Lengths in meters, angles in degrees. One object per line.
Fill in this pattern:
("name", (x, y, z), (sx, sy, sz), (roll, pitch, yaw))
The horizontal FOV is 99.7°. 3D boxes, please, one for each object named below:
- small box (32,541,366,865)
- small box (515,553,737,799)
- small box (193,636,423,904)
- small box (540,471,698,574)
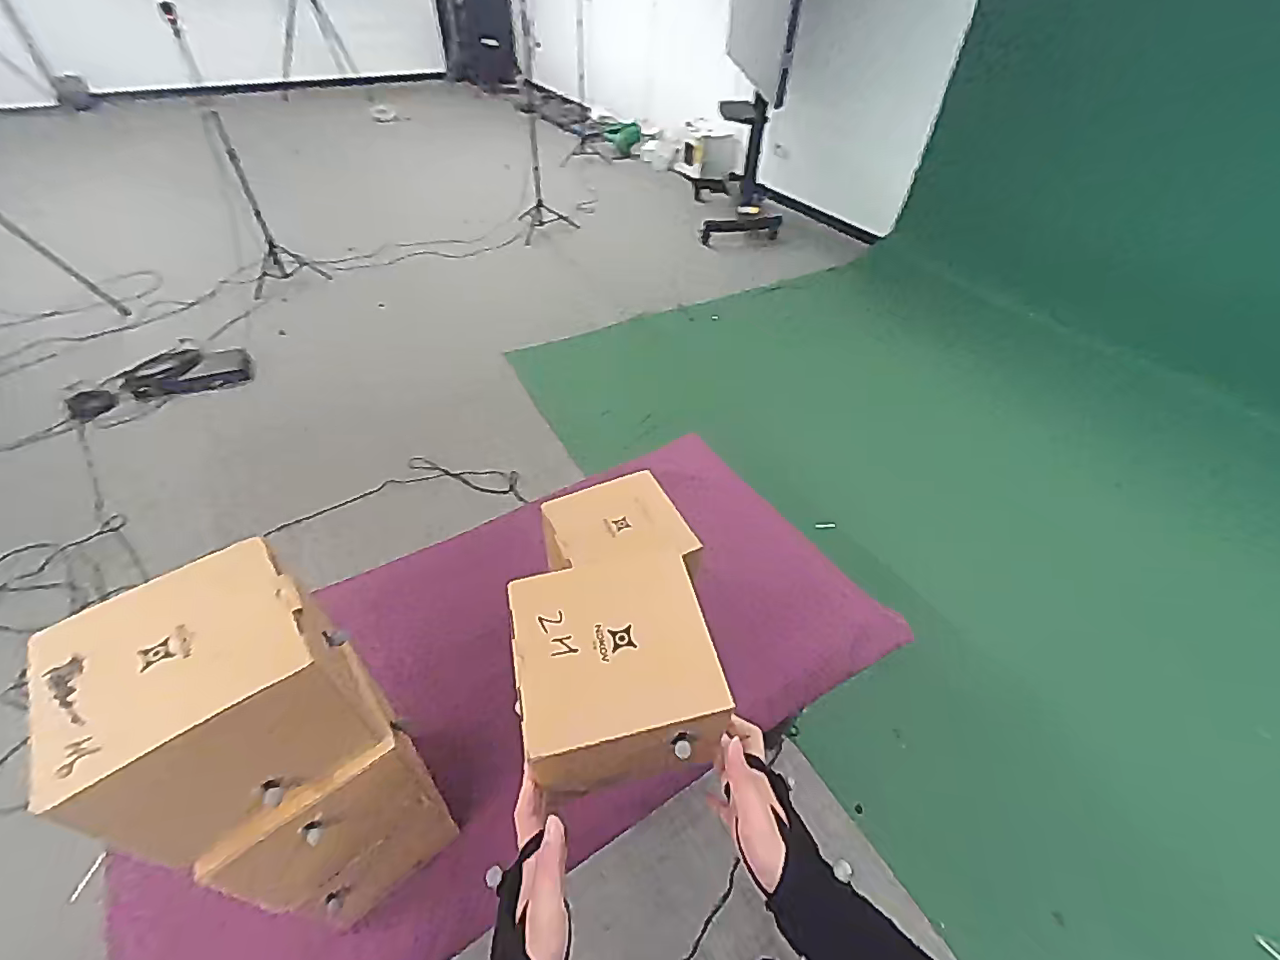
("small box", (-0.371, 0.194, 0.483), (0.179, 0.176, 0.168), (-28, 52, -27))
("small box", (-0.022, 0.198, 0.544), (0.179, 0.176, 0.168), (-9, 50, -9))
("small box", (-0.359, 0.315, 0.595), (0.179, 0.176, 0.168), (-30, 53, -27))
("small box", (-0.034, 0.120, 0.805), (0.179, 0.176, 0.168), (-18, 50, -20))
